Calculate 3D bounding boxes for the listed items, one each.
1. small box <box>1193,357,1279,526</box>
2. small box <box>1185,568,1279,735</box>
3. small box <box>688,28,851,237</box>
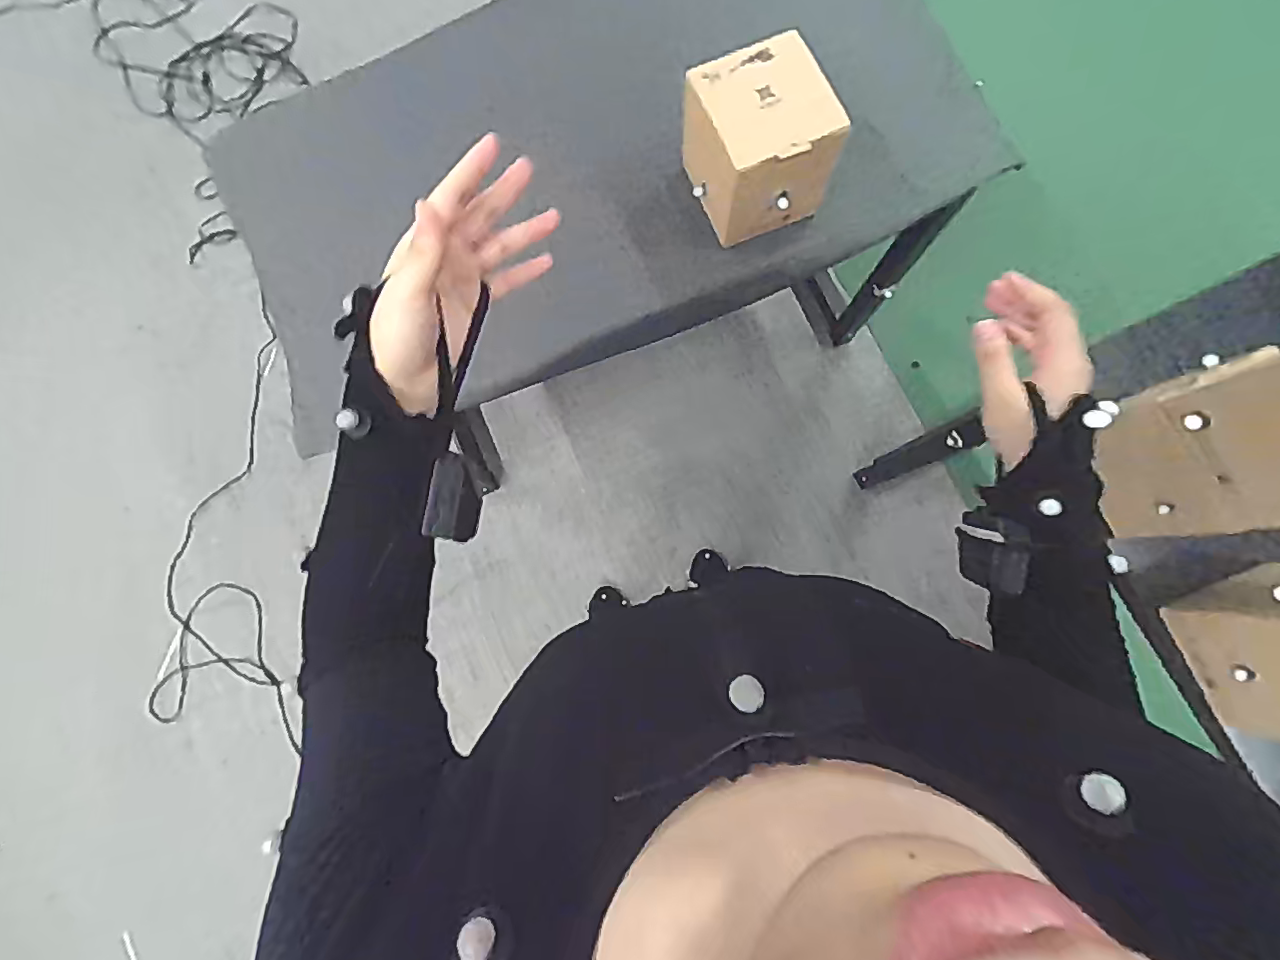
[{"bbox_3d":[0.721,-0.061,0.535,0.179,0.176,0.168,-22,82,-2],"label":"small box"},{"bbox_3d":[0.832,0.211,0.653,0.179,0.176,0.168,-22,81,-1],"label":"small box"},{"bbox_3d":[0.177,-0.490,0.794,0.168,0.176,0.179,-22,79,0],"label":"small box"}]
